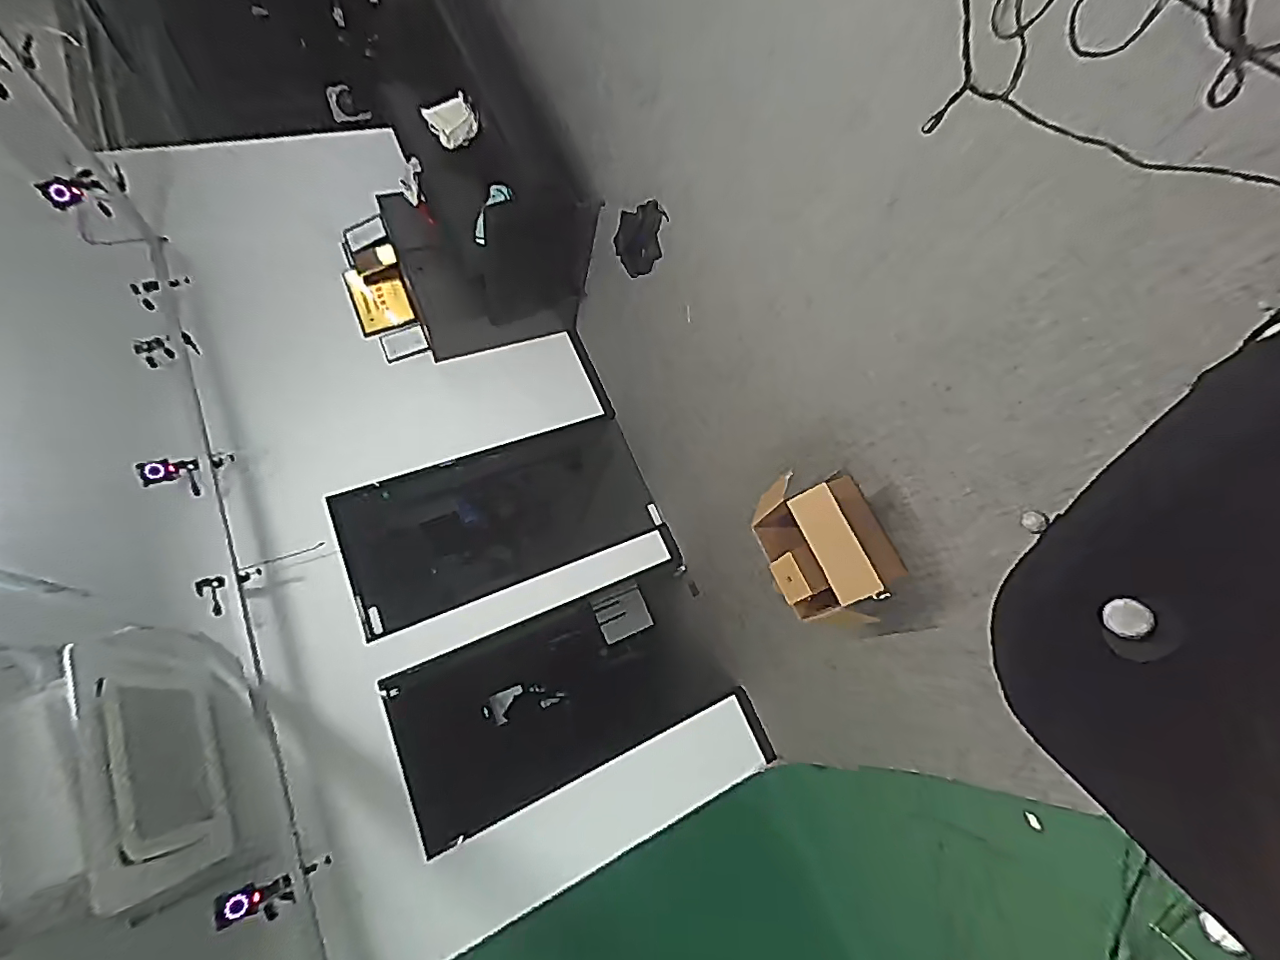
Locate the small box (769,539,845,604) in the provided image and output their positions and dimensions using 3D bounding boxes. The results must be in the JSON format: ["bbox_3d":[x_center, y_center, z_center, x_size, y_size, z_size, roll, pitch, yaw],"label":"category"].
[{"bbox_3d":[0.614,0.339,1.990,0.168,0.176,0.179,65,157,19],"label":"small box"}]
